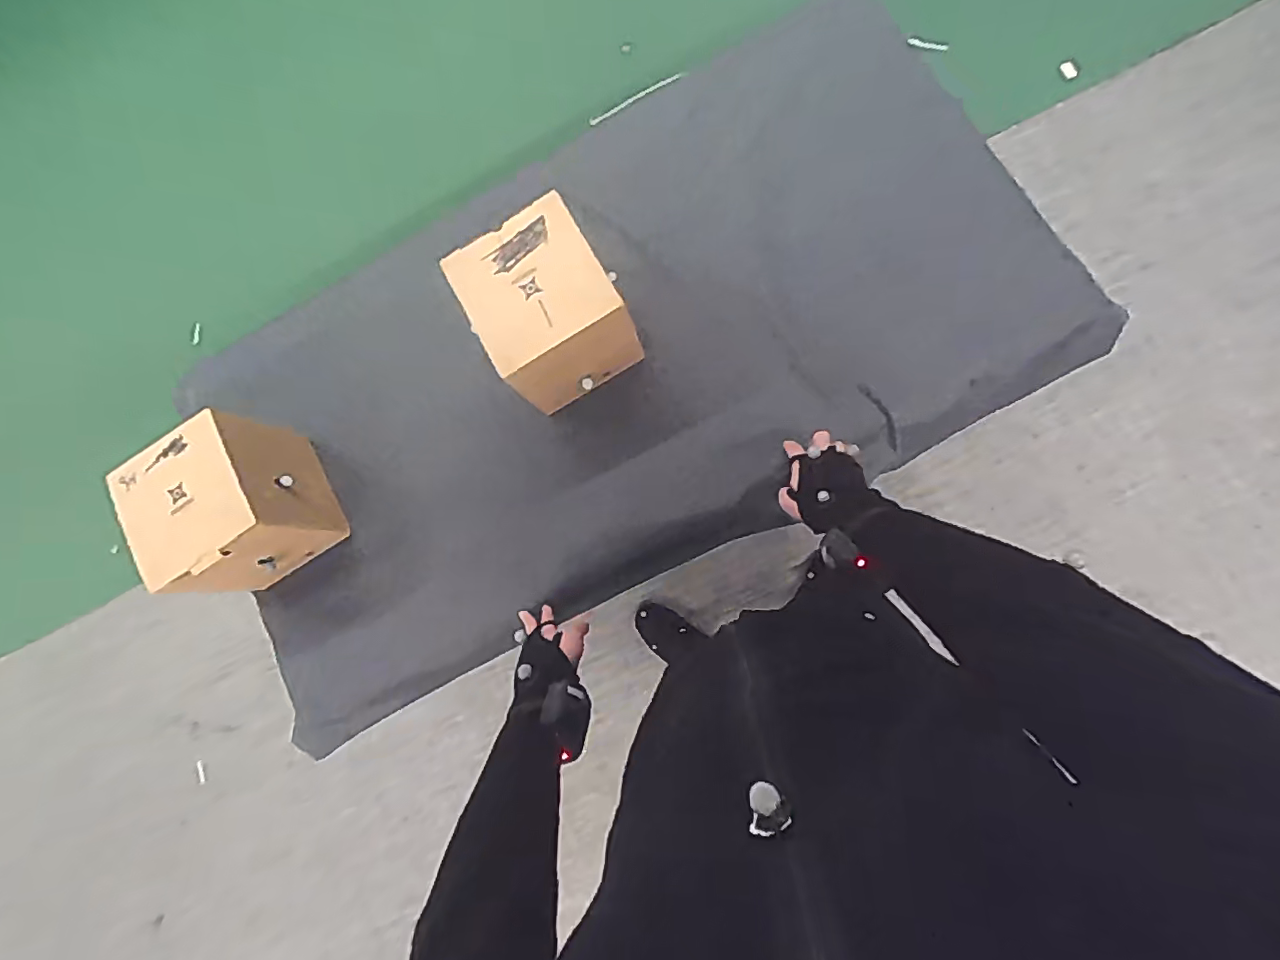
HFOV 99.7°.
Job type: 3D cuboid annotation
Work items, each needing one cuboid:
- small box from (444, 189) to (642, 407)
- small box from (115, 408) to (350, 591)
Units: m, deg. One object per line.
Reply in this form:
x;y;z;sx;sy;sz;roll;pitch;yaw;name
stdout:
-0.114;-0.222;0.704;0.168;0.176;0.179;-30;79;5;small box
-0.544;0.031;0.744;0.168;0.176;0.179;-32;79;4;small box
